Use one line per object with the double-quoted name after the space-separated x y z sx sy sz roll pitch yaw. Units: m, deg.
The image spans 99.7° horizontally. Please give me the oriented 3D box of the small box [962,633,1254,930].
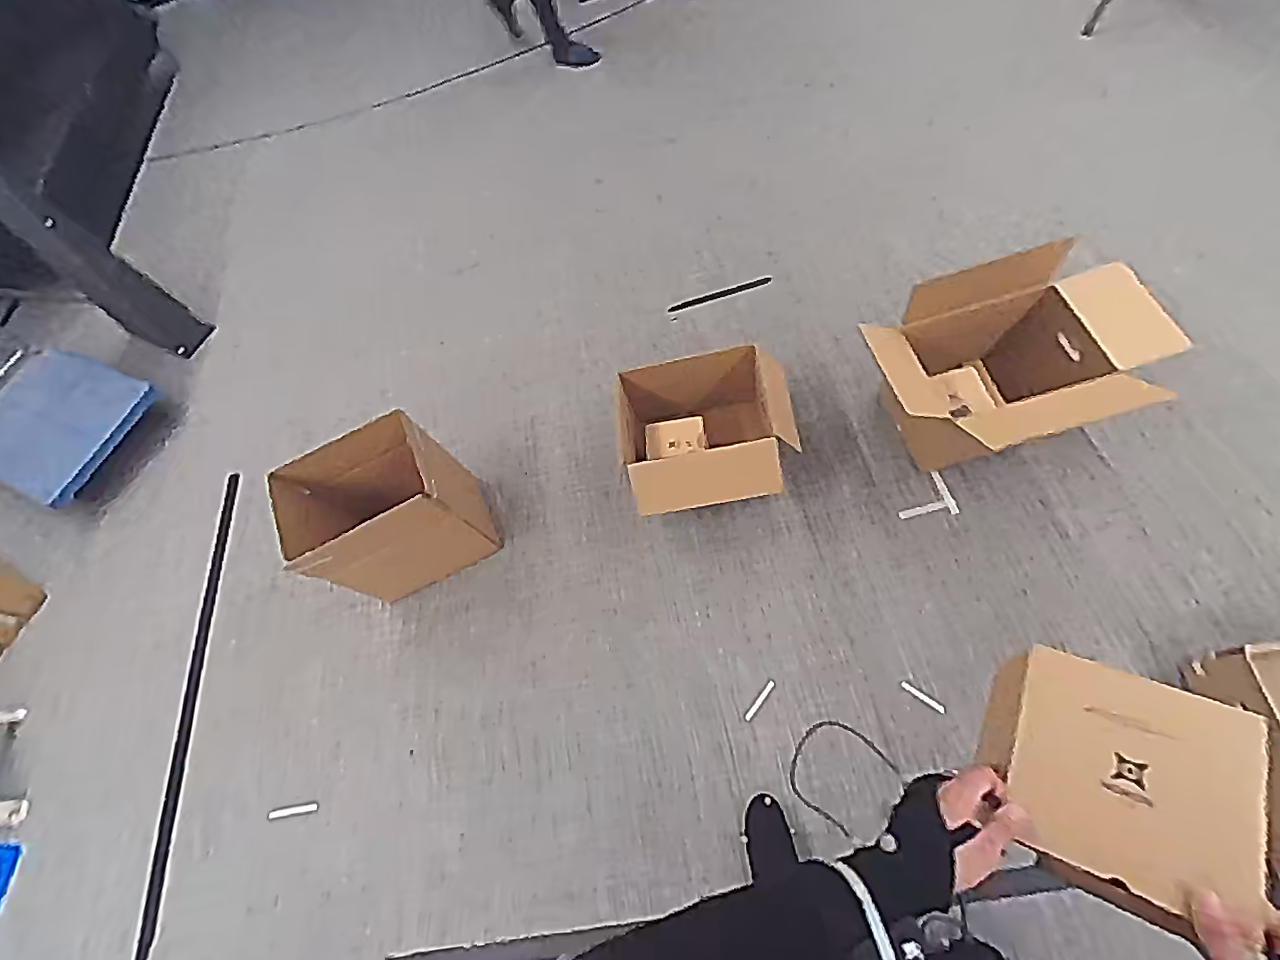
0.431 0.273 0.528 0.168 0.176 0.179 15 73 27 "small box"
